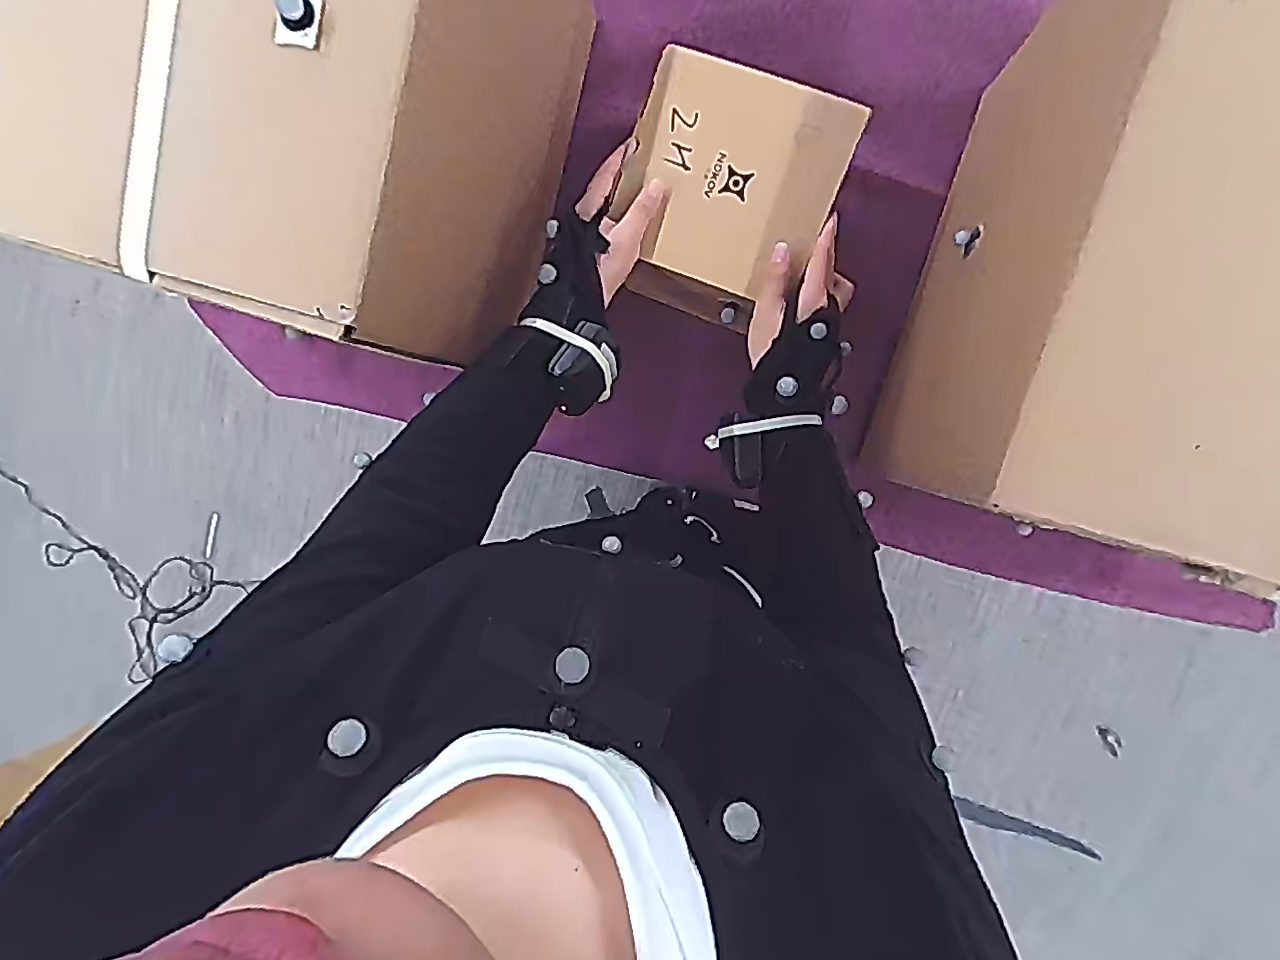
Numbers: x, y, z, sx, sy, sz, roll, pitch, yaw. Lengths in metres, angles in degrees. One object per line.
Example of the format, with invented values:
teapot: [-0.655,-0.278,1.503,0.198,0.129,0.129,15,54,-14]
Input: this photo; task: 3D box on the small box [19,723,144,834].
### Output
small box: [-1.477,0.783,1.439,0.168,0.176,0.179,12,99,7]
